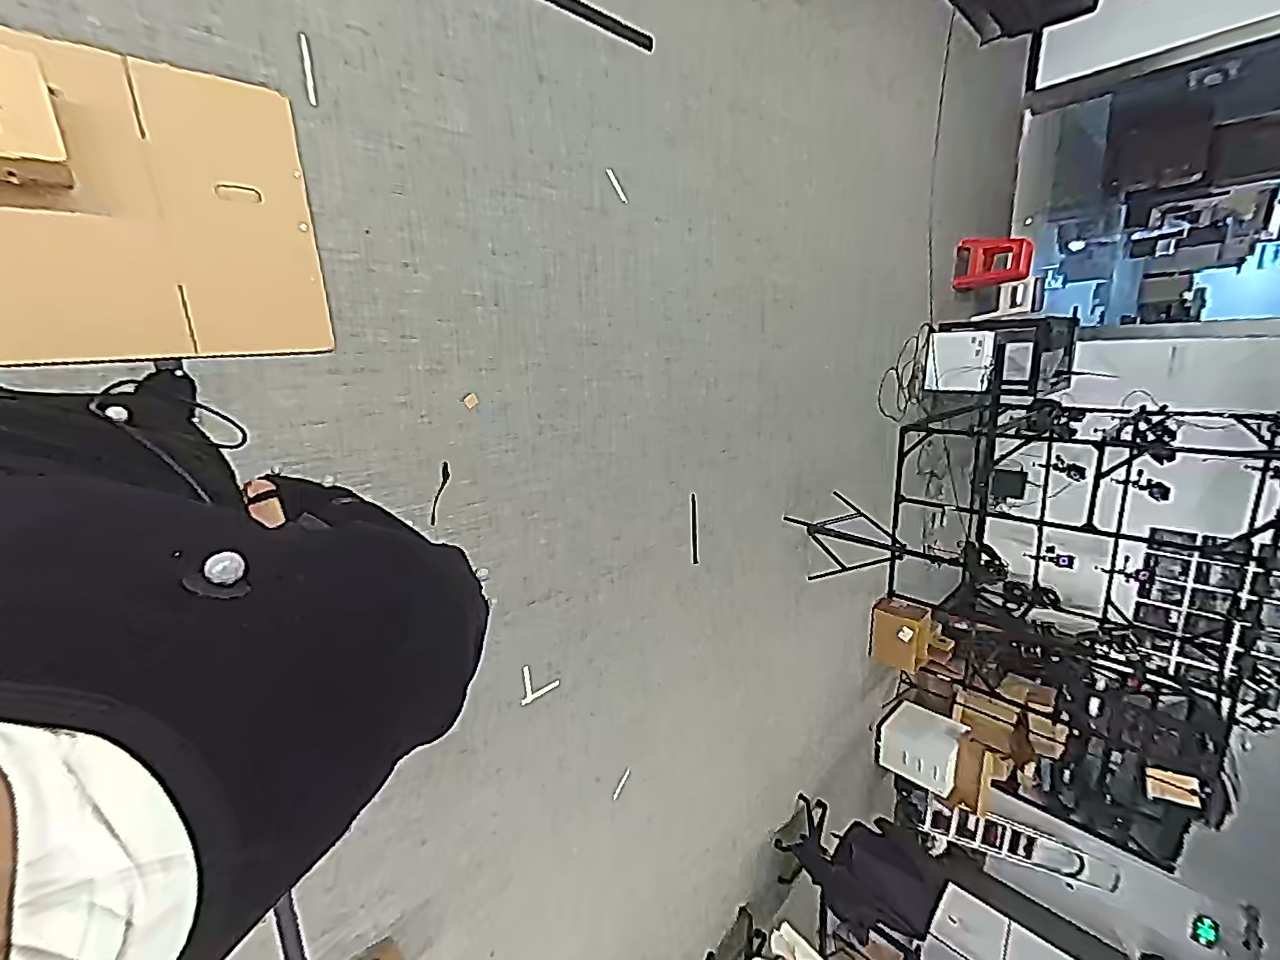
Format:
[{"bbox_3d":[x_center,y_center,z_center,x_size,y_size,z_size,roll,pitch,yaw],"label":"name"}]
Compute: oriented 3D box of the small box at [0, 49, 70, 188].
[{"bbox_3d":[-1.153,-0.642,0.957,0.168,0.176,0.179,-16,109,-40],"label":"small box"}]
